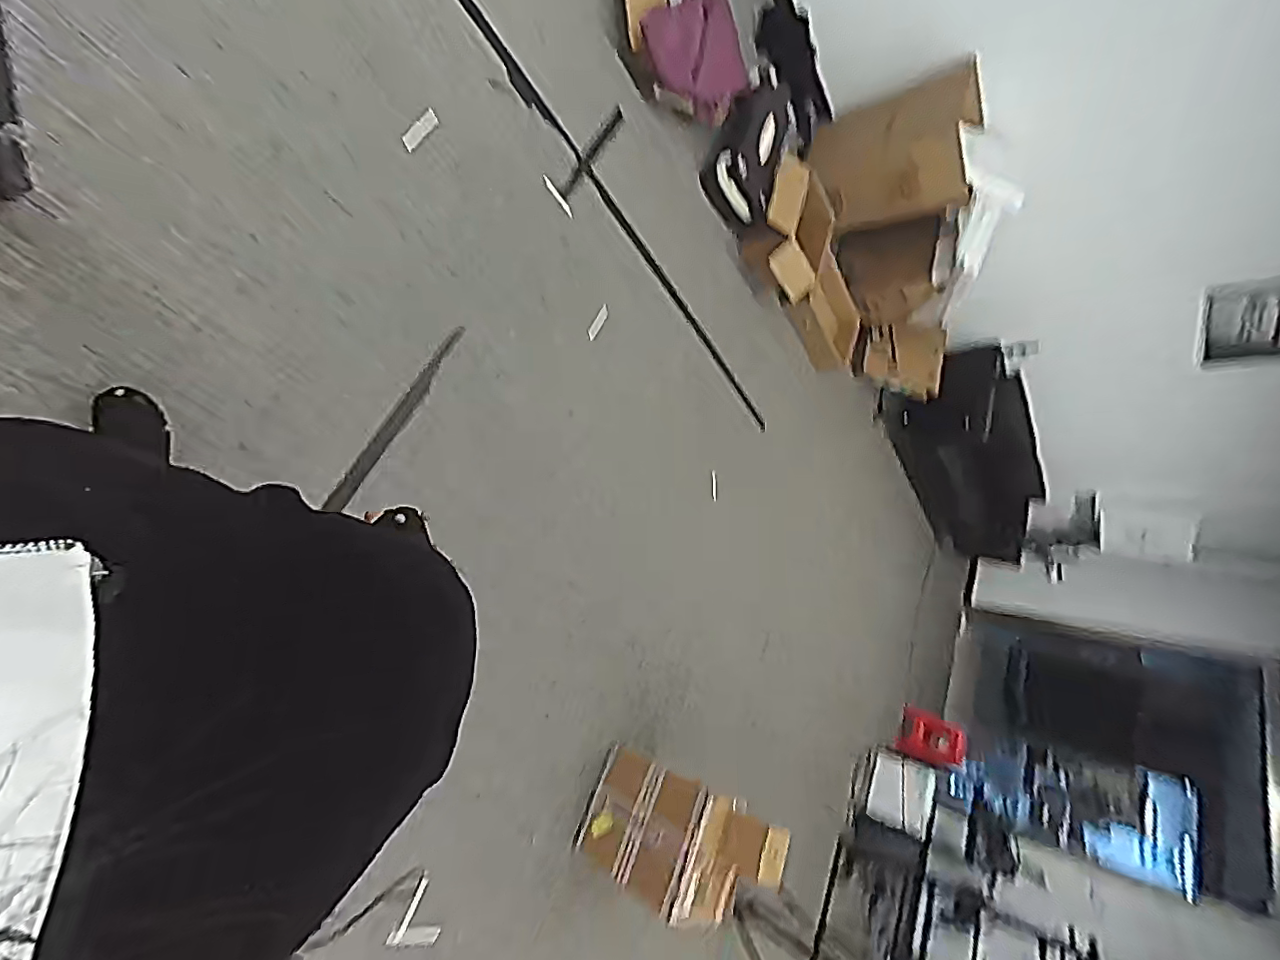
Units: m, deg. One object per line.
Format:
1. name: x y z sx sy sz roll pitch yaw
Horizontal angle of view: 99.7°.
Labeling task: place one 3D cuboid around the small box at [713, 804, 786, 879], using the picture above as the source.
1. small box: 0.388 1.282 1.922 0.179 0.176 0.168 42 61 -37
